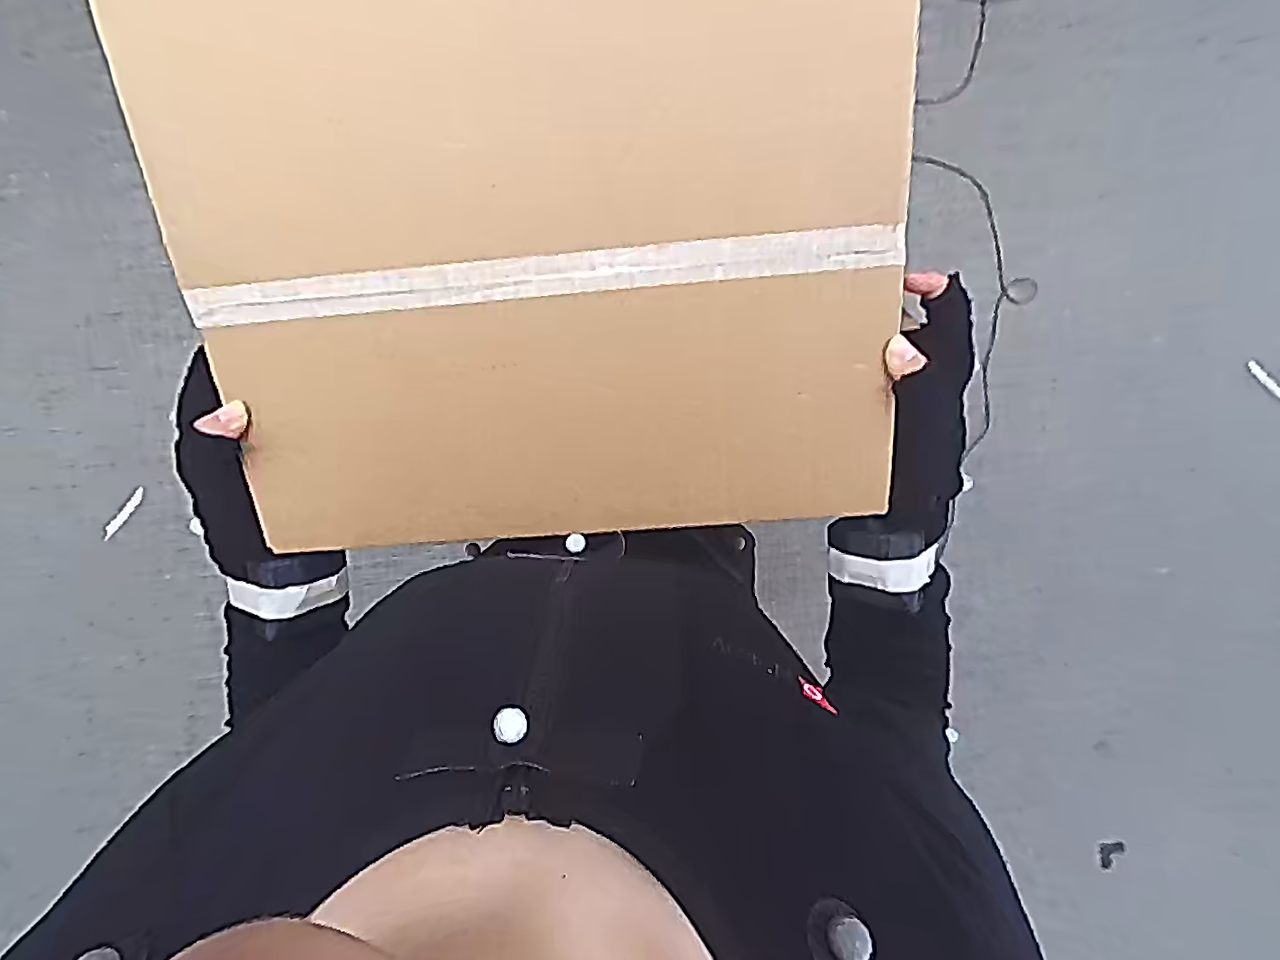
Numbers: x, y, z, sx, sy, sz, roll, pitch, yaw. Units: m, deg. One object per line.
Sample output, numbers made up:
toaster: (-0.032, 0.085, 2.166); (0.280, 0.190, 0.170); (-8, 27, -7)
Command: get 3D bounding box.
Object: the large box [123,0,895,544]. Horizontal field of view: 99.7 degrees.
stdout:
large box: (-0.057, -0.163, 0.455); (0.408, 0.320, 0.320); (-5, 109, 2)
